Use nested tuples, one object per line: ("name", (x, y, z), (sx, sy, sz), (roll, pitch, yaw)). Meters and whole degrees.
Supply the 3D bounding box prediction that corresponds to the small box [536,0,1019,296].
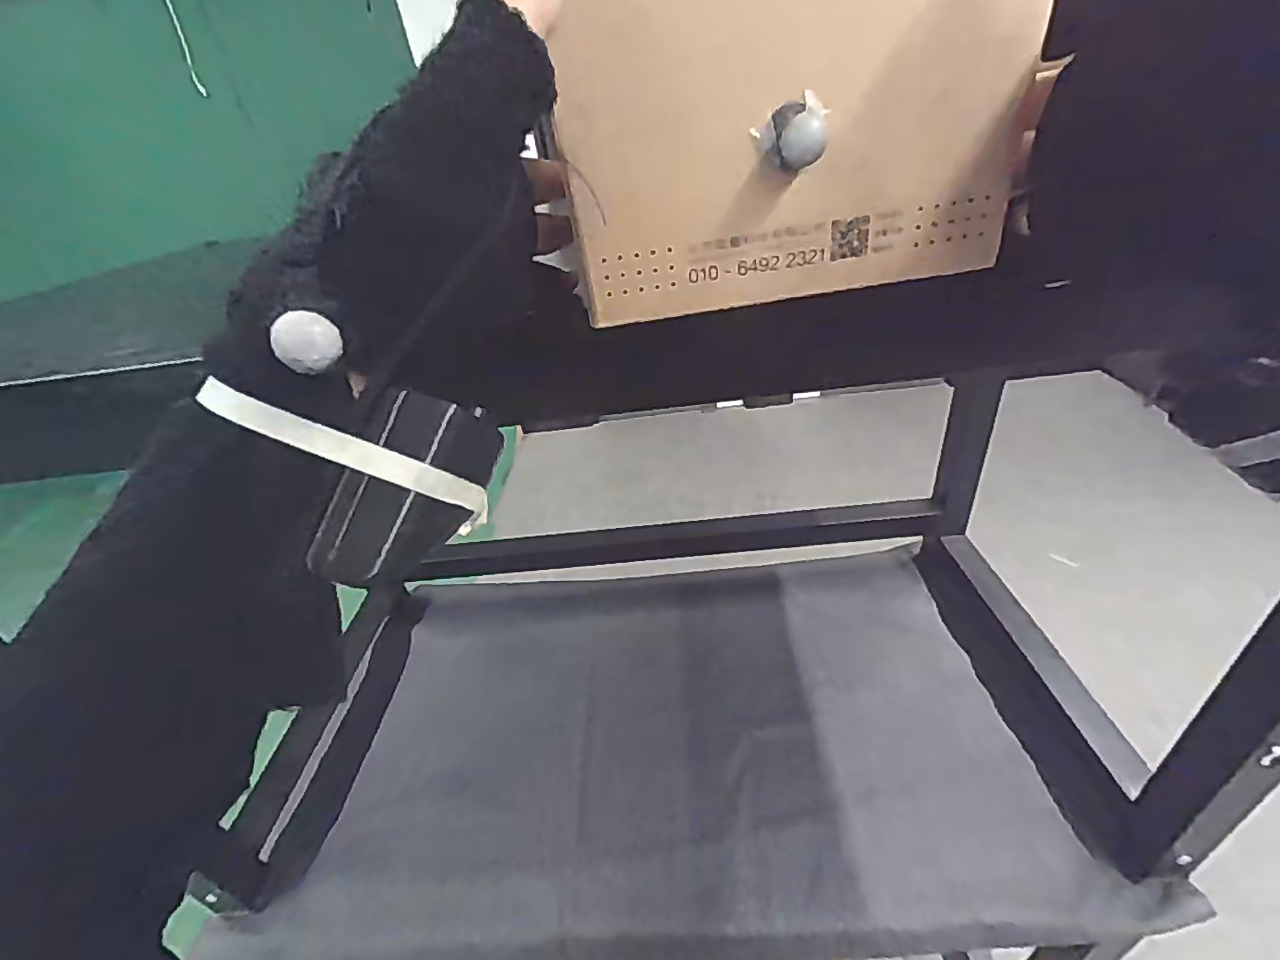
("small box", (0.043, -0.195, 0.254), (0.168, 0.176, 0.179), (-9, 32, 1))
